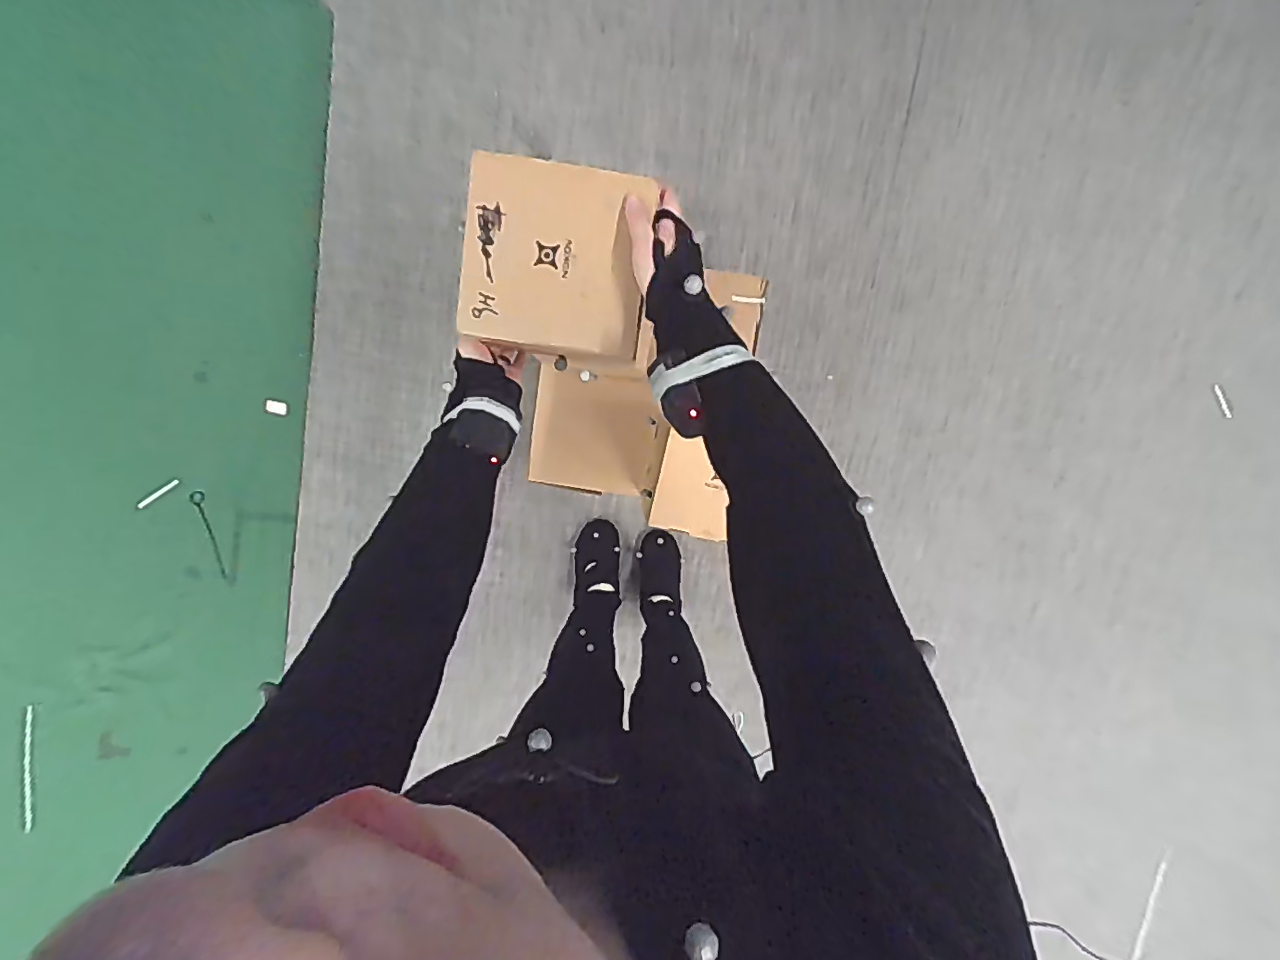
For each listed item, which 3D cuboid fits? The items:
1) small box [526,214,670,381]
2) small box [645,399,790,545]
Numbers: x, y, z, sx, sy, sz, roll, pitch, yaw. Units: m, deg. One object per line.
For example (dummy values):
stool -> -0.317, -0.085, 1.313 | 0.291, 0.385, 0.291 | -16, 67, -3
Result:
small box -> -0.059, -0.253, 0.792 | 0.168, 0.176, 0.179 | 11, 94, -2
small box -> 0.105, -0.017, 0.824 | 0.168, 0.176, 0.179 | 12, 96, -4
